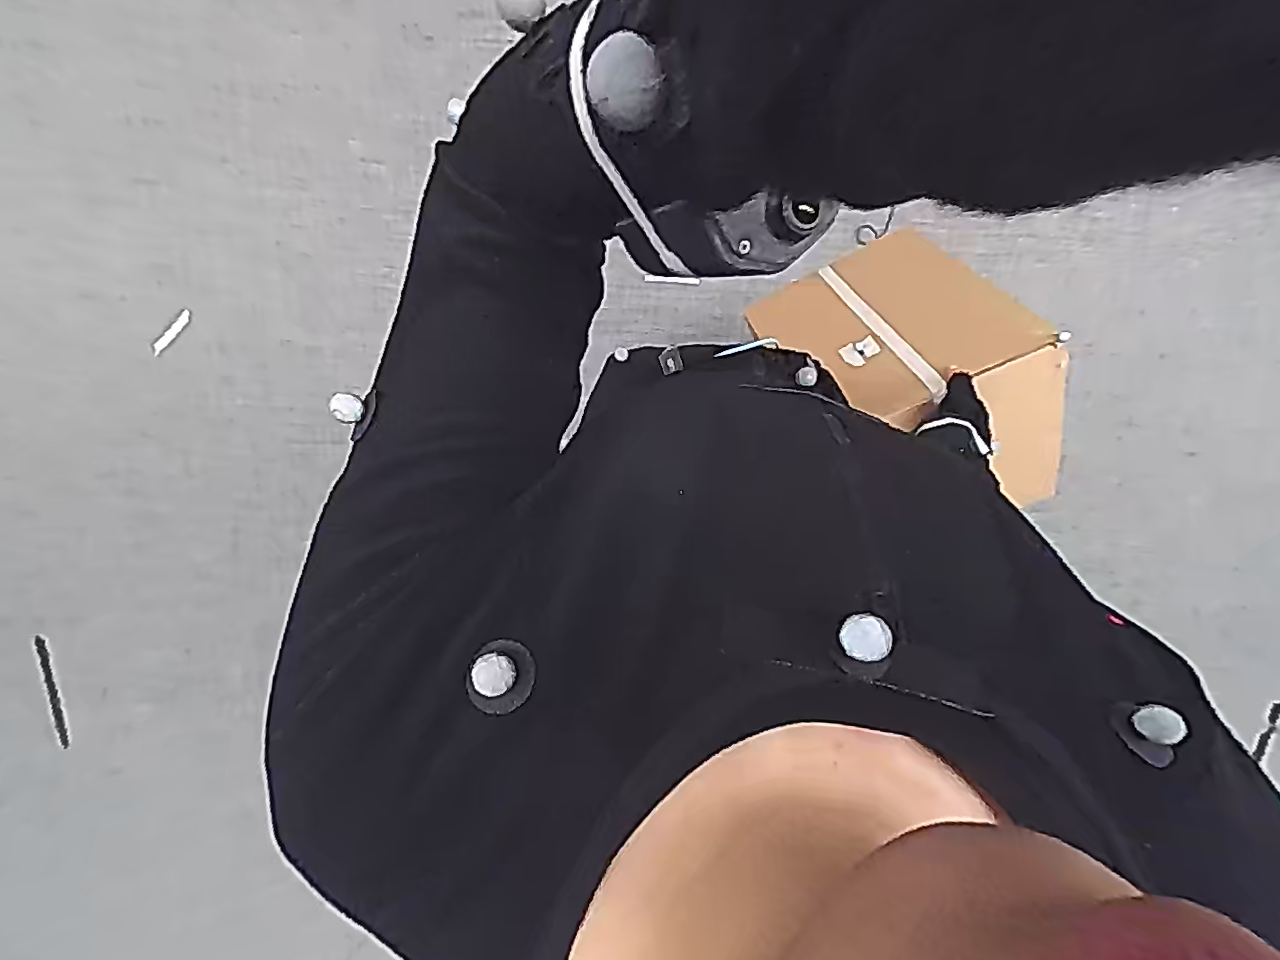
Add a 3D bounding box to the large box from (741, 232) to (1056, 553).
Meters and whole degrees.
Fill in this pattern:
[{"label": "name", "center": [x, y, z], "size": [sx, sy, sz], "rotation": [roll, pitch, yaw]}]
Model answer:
[{"label": "large box", "center": [0.414, -0.154, 0.940], "size": [0.320, 0.408, 0.320], "rotation": [-24, 133, 13]}]
